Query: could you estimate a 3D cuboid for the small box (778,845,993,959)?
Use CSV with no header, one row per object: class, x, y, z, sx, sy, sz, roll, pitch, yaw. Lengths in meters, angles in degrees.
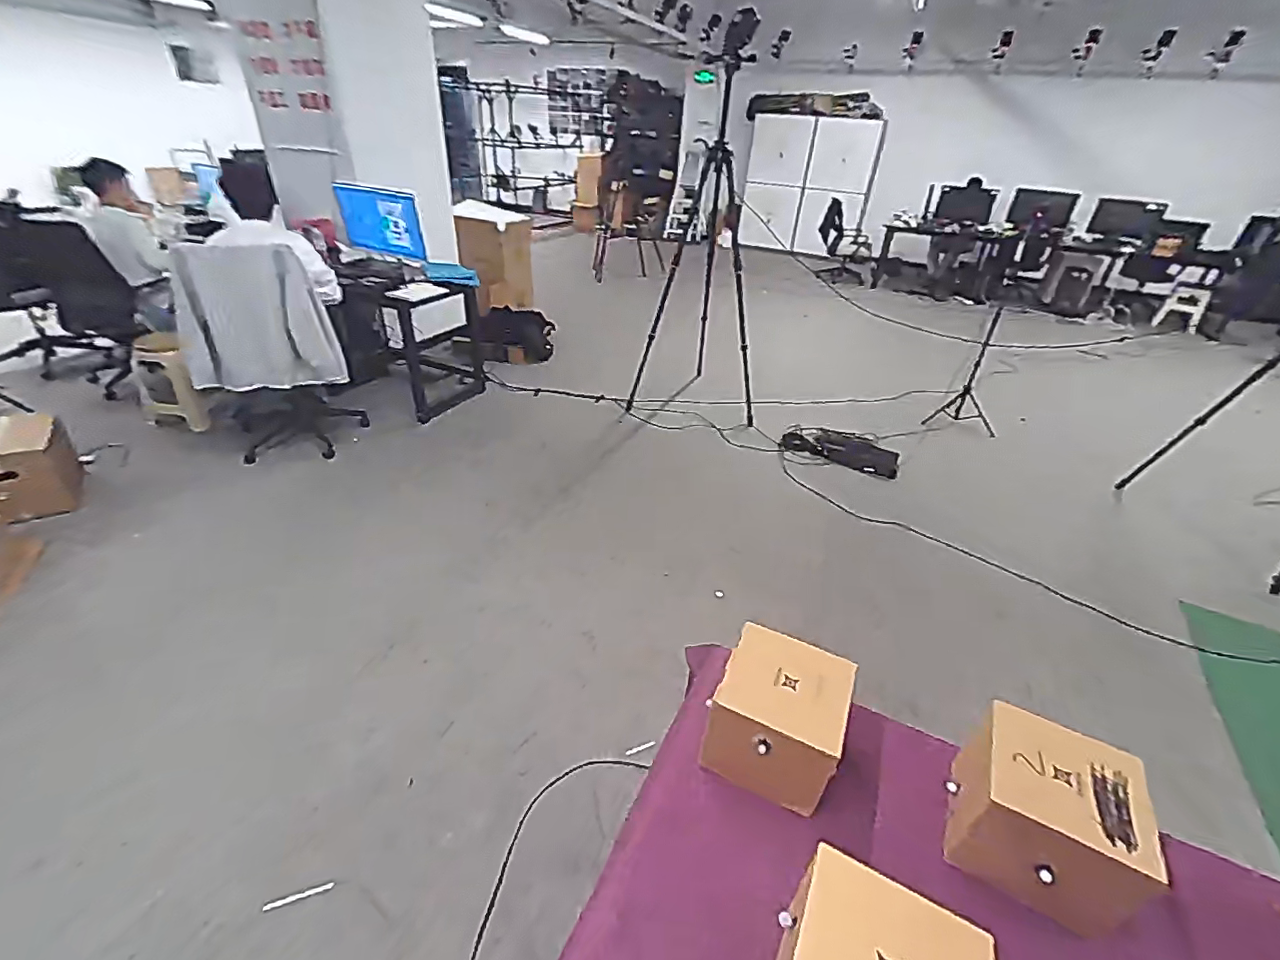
small box,0.234,0.537,0.555,0.179,0.176,0.168,20,36,21
